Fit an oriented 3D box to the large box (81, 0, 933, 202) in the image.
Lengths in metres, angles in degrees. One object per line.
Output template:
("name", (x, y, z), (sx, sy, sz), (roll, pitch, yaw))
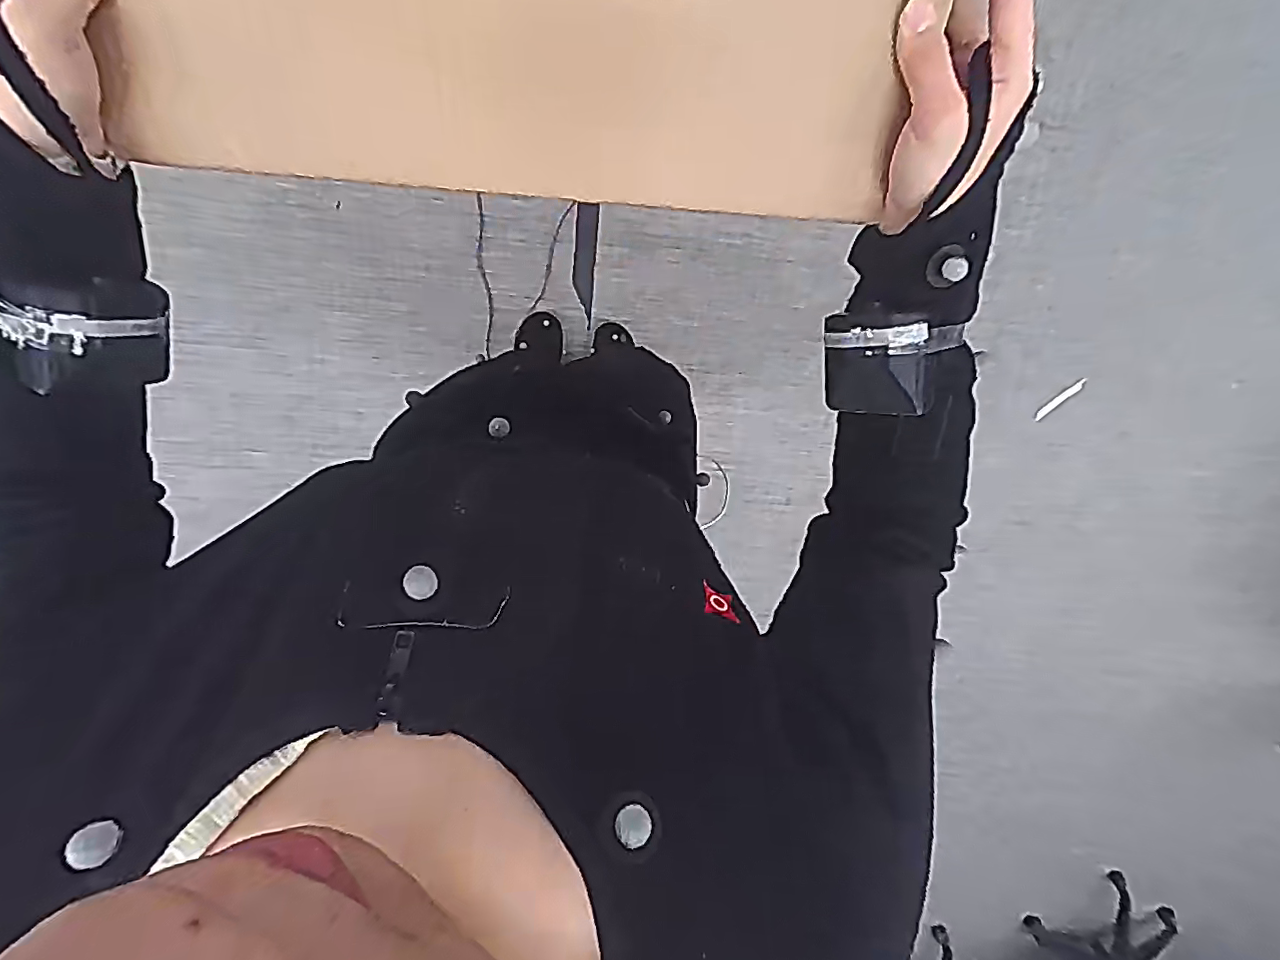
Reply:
("large box", (-0.060, -0.374, 0.333), (0.408, 0.320, 0.320), (2, 125, -6))
